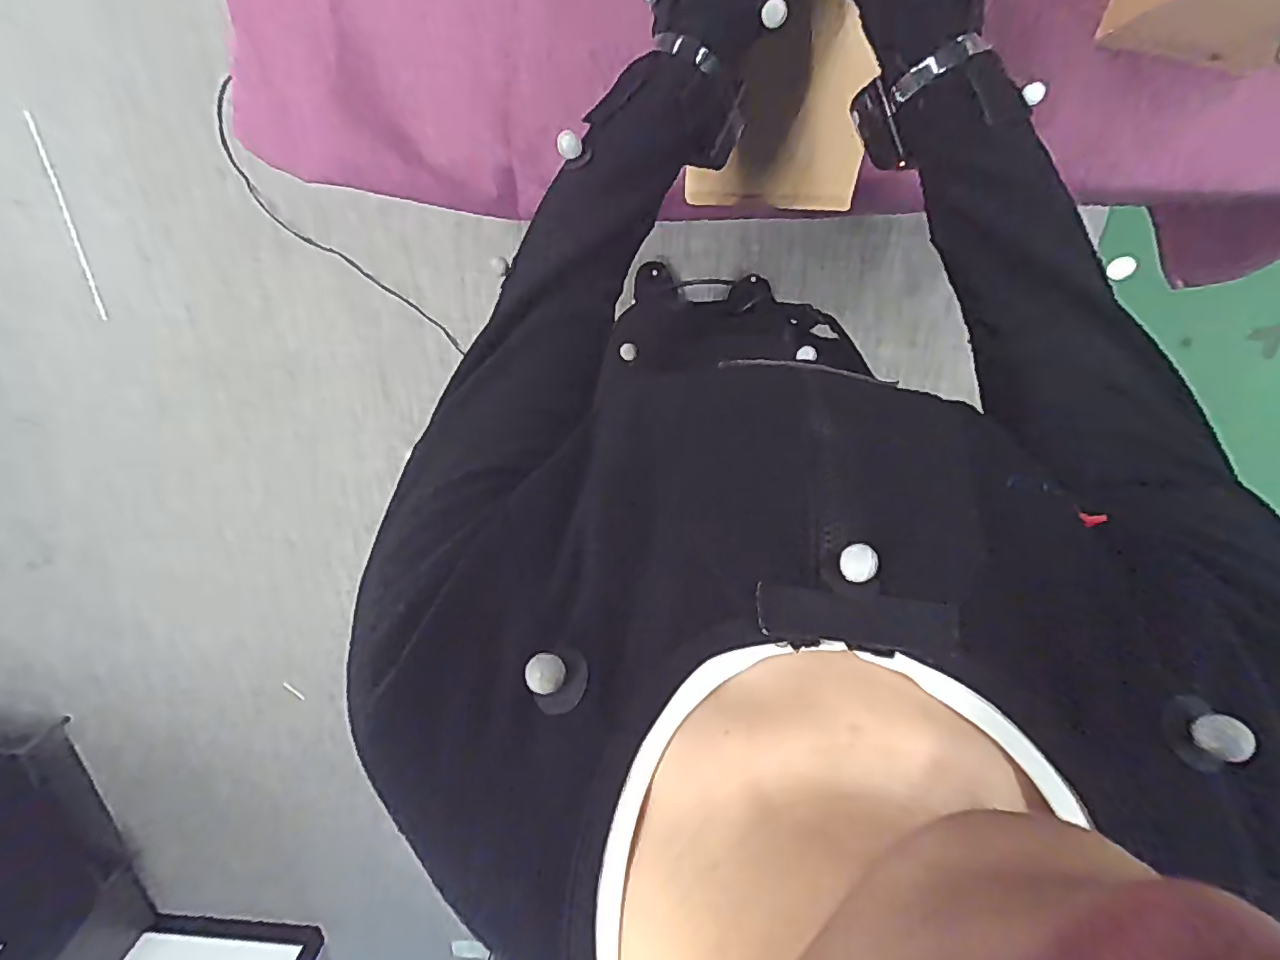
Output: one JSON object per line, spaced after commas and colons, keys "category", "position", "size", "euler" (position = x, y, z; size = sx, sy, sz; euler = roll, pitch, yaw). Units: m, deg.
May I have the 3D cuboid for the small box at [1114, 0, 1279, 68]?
{"category": "small box", "position": [0.537, -0.461, 0.424], "size": [0.168, 0.176, 0.179], "euler": [12, 113, -1]}
